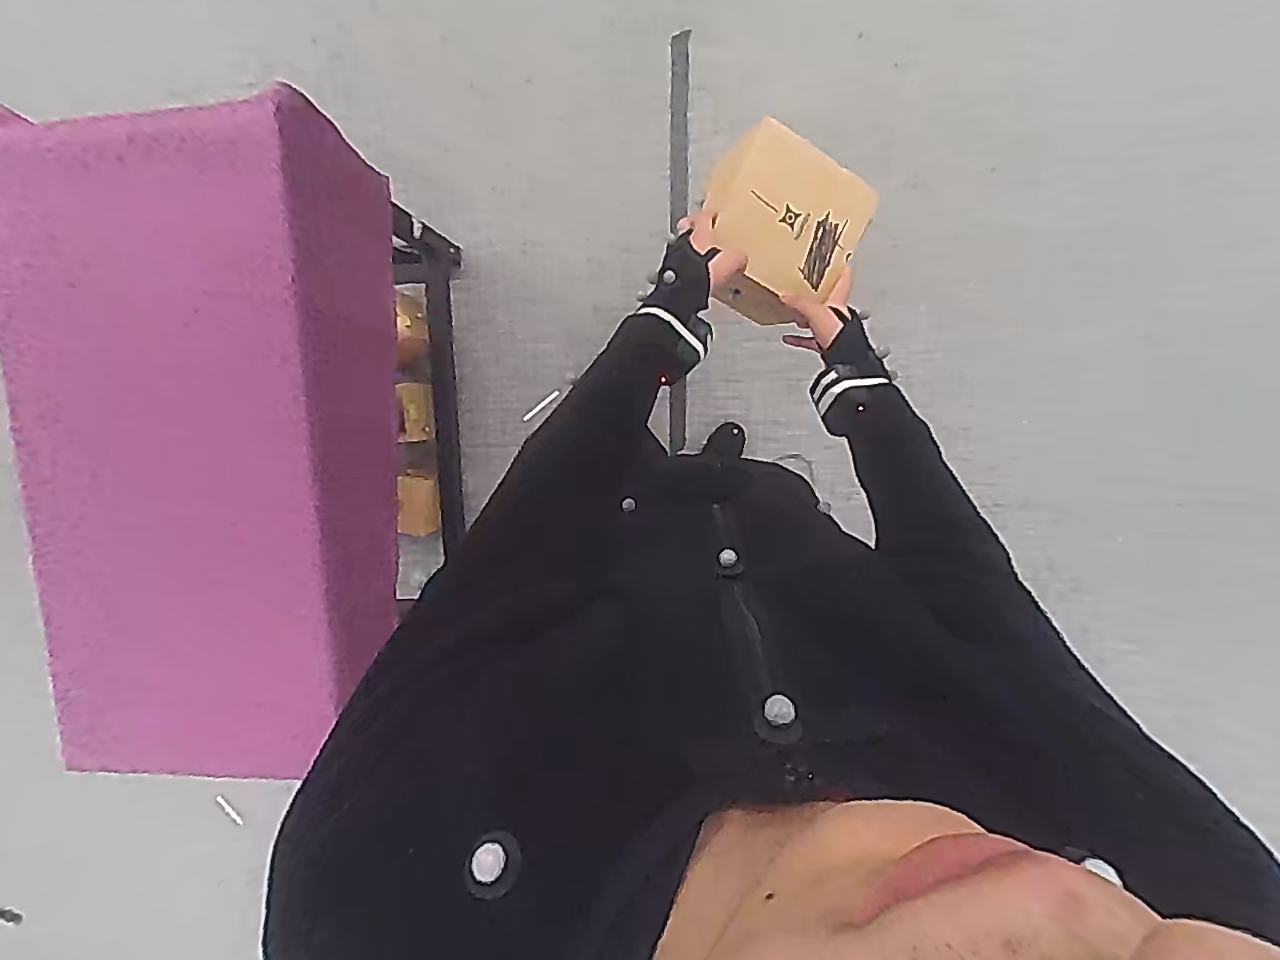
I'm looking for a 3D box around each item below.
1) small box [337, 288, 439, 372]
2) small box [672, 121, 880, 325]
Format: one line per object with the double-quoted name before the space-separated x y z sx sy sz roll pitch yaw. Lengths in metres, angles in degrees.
"small box" -0.731 -0.432 1.587 0.179 0.176 0.168 -29 93 10
"small box" 0.168 -0.322 0.720 0.179 0.176 0.168 25 97 -16
